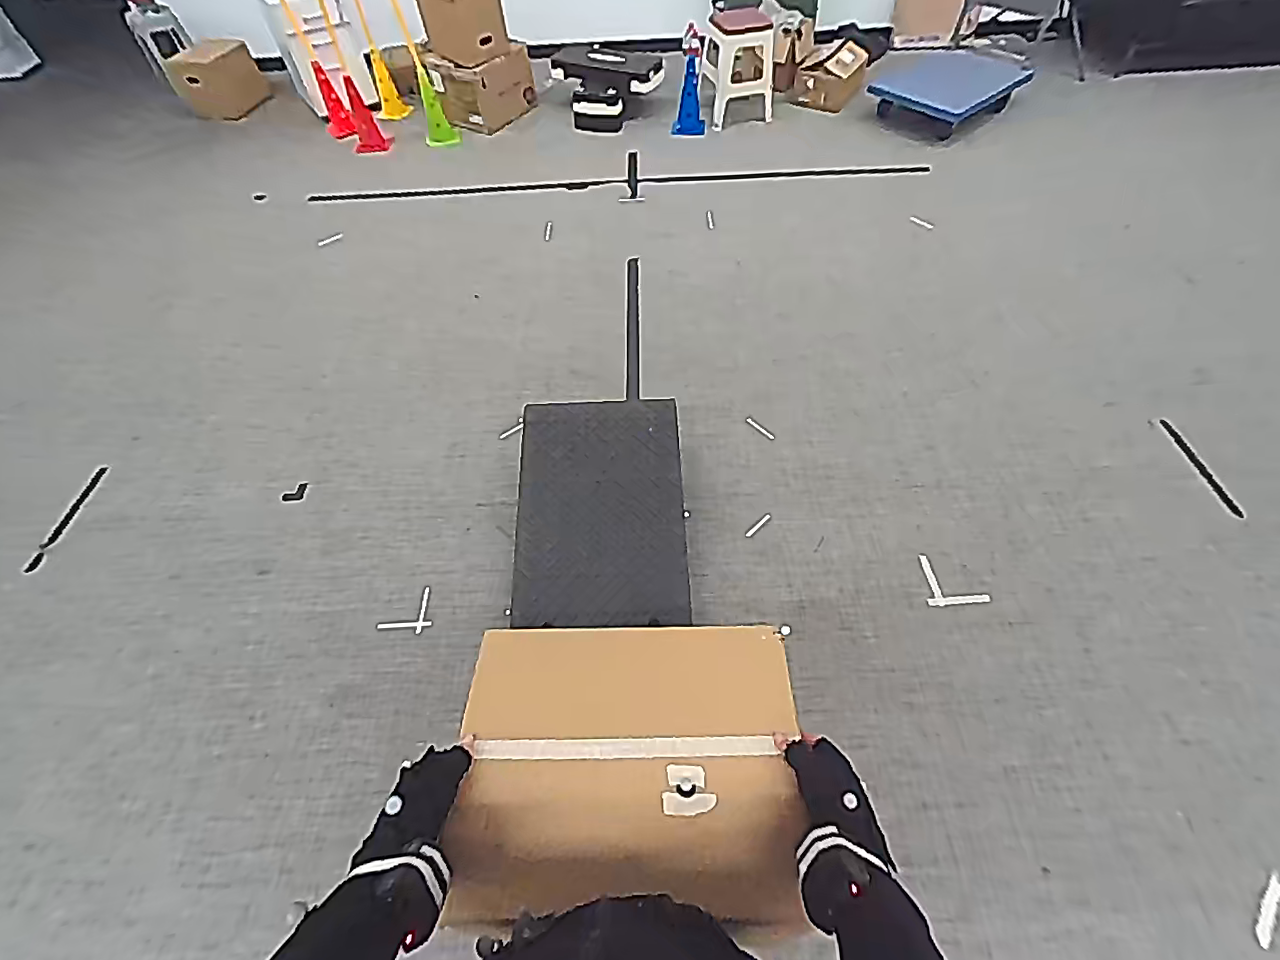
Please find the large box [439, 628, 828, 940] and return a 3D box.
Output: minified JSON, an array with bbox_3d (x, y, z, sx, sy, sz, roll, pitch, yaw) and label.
[{"bbox_3d":[-0.005,0.423,0.752,0.408,0.320,0.320,-1,47,2],"label":"large box"}]
